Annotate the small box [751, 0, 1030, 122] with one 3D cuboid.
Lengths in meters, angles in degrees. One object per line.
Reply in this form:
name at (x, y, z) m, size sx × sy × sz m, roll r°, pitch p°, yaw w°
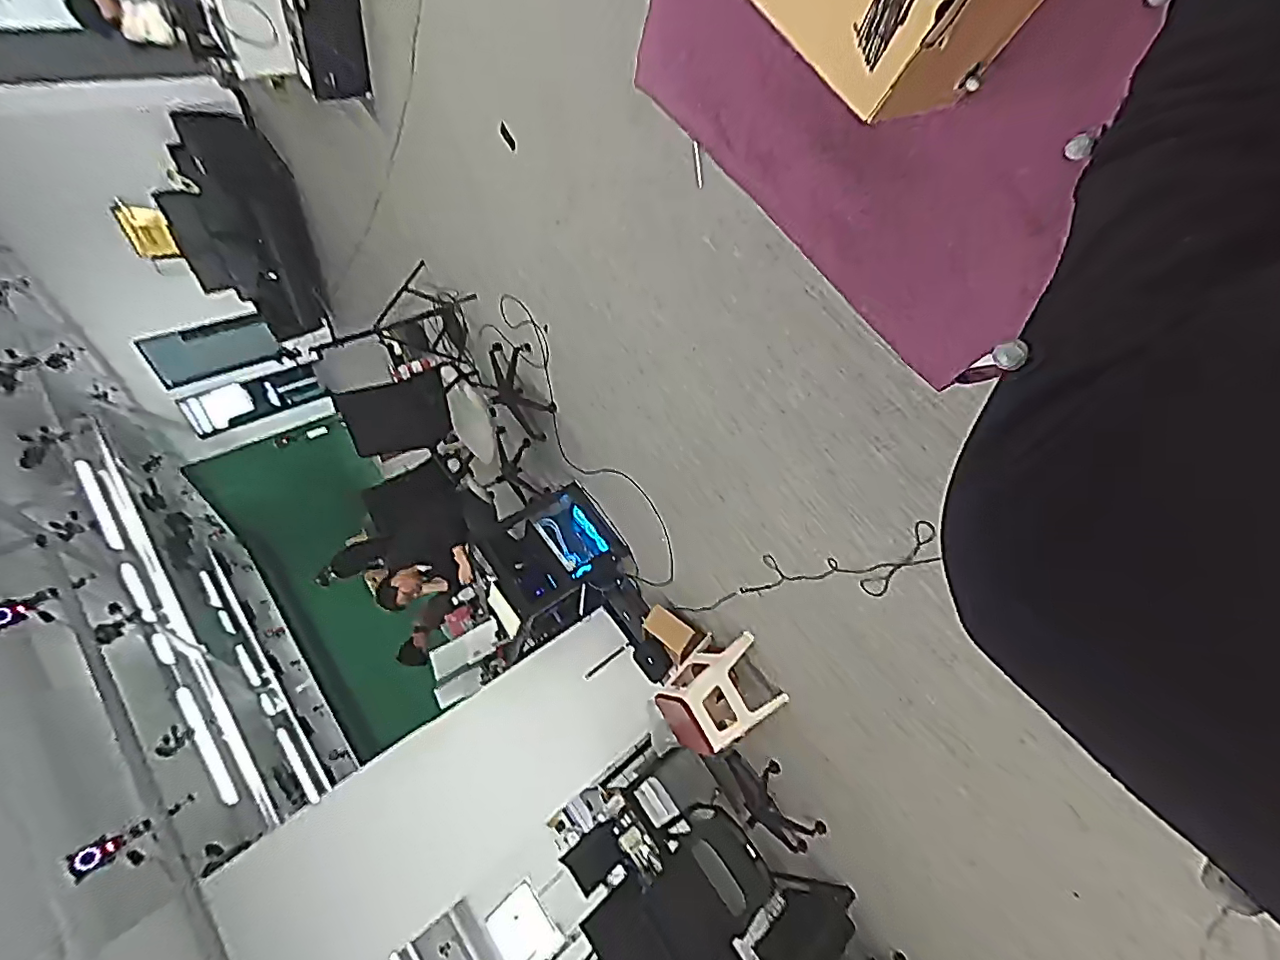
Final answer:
small box at (0.226, -0.436, 0.438) m, size 0.179 × 0.176 × 0.168 m, roll 55°, pitch 149°, yaw 9°
